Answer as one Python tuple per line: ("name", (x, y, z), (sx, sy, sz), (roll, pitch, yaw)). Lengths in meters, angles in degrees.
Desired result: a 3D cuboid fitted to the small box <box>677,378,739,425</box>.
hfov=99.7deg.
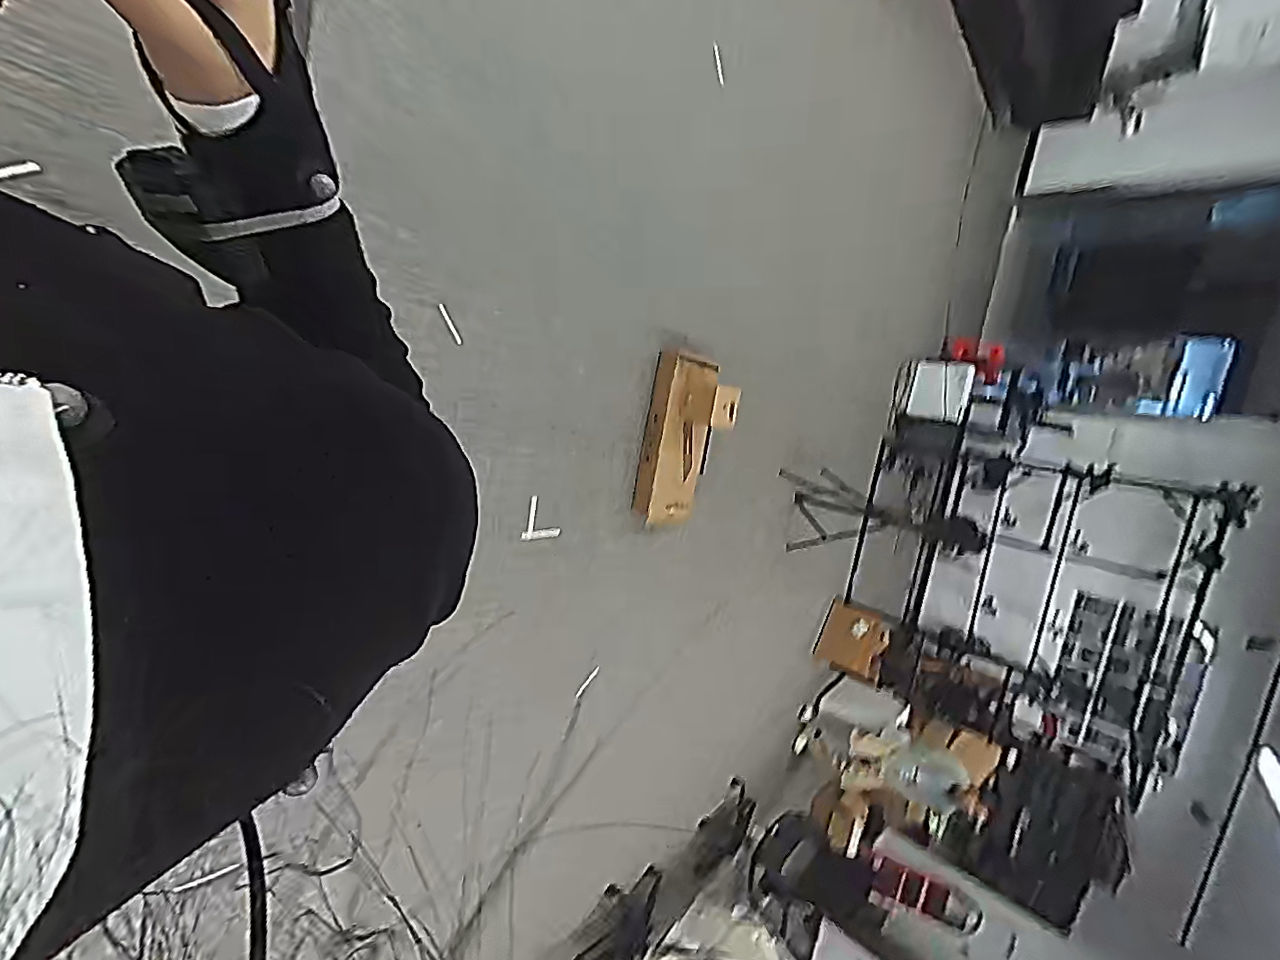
("small box", (0.283, -0.329, 2.259), (0.179, 0.176, 0.168), (0, 103, -48))
